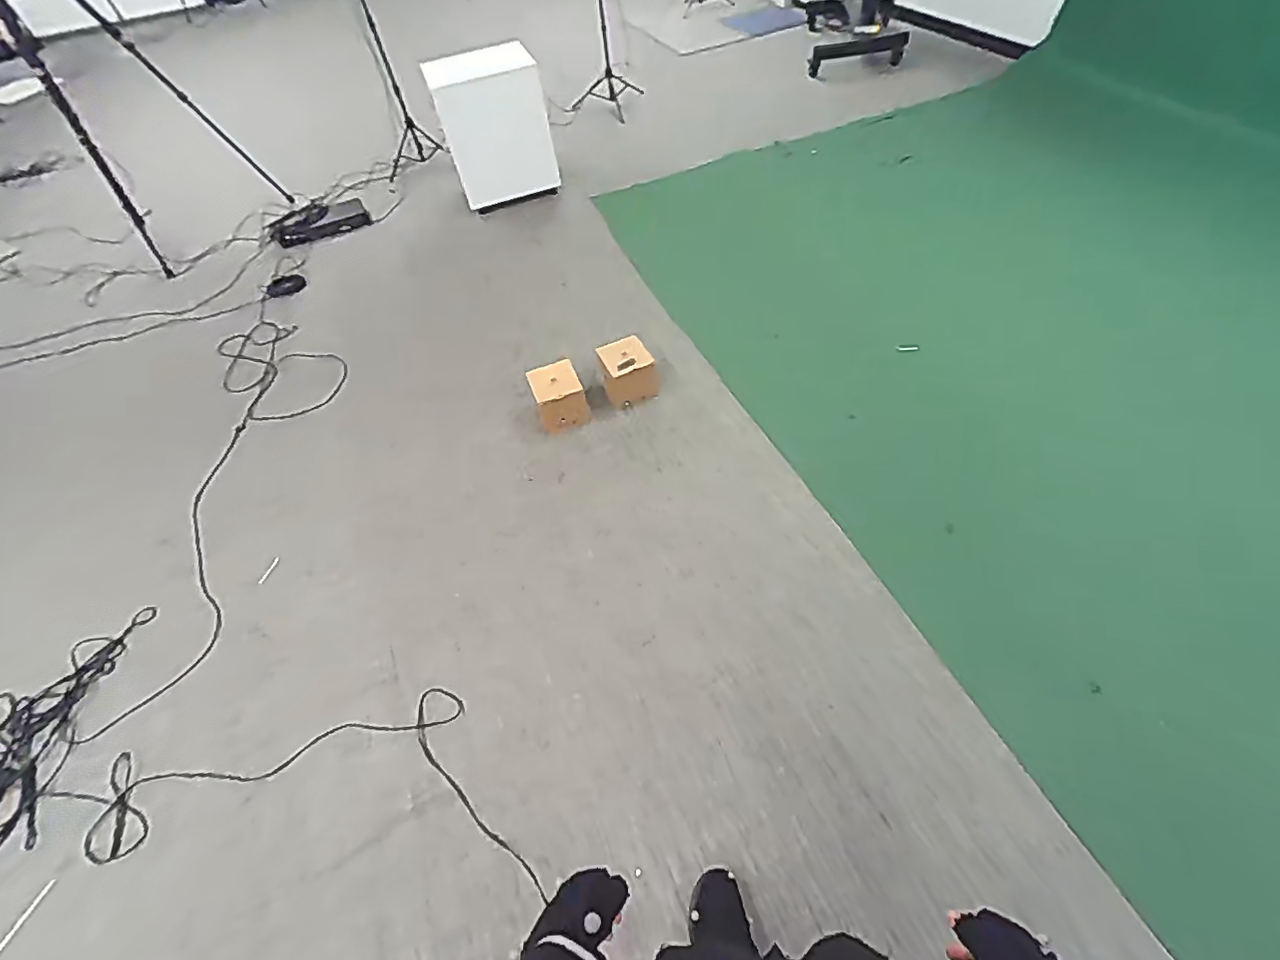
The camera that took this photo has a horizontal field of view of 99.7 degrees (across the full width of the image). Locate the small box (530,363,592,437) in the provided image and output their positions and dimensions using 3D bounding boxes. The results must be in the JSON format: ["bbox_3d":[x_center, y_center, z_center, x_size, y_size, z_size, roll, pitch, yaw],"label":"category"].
[{"bbox_3d":[-0.284,-0.289,1.955,0.168,0.176,0.179,-20,55,-9],"label":"small box"}]

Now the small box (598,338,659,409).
[{"bbox_3d":[-0.037,-0.386,2.000,0.168,0.176,0.179,-23,54,-11],"label":"small box"}]
